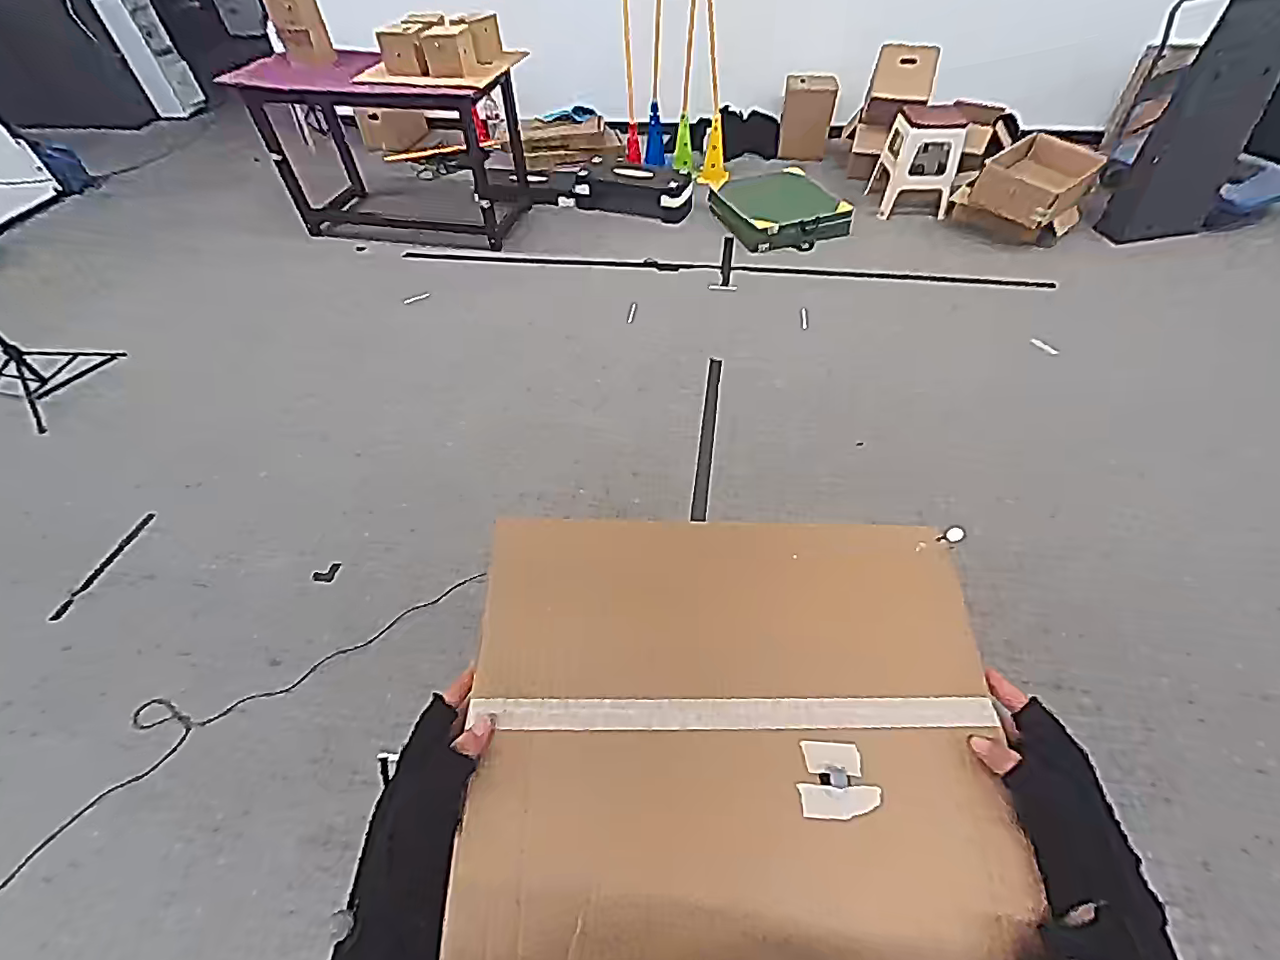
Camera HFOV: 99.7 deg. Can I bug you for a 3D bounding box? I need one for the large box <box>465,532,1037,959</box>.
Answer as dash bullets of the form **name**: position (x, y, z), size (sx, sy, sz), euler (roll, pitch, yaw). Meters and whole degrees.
- **large box**: position (0.067, 0.254, 0.562), size (0.408, 0.320, 0.320), euler (1, 64, -3)
